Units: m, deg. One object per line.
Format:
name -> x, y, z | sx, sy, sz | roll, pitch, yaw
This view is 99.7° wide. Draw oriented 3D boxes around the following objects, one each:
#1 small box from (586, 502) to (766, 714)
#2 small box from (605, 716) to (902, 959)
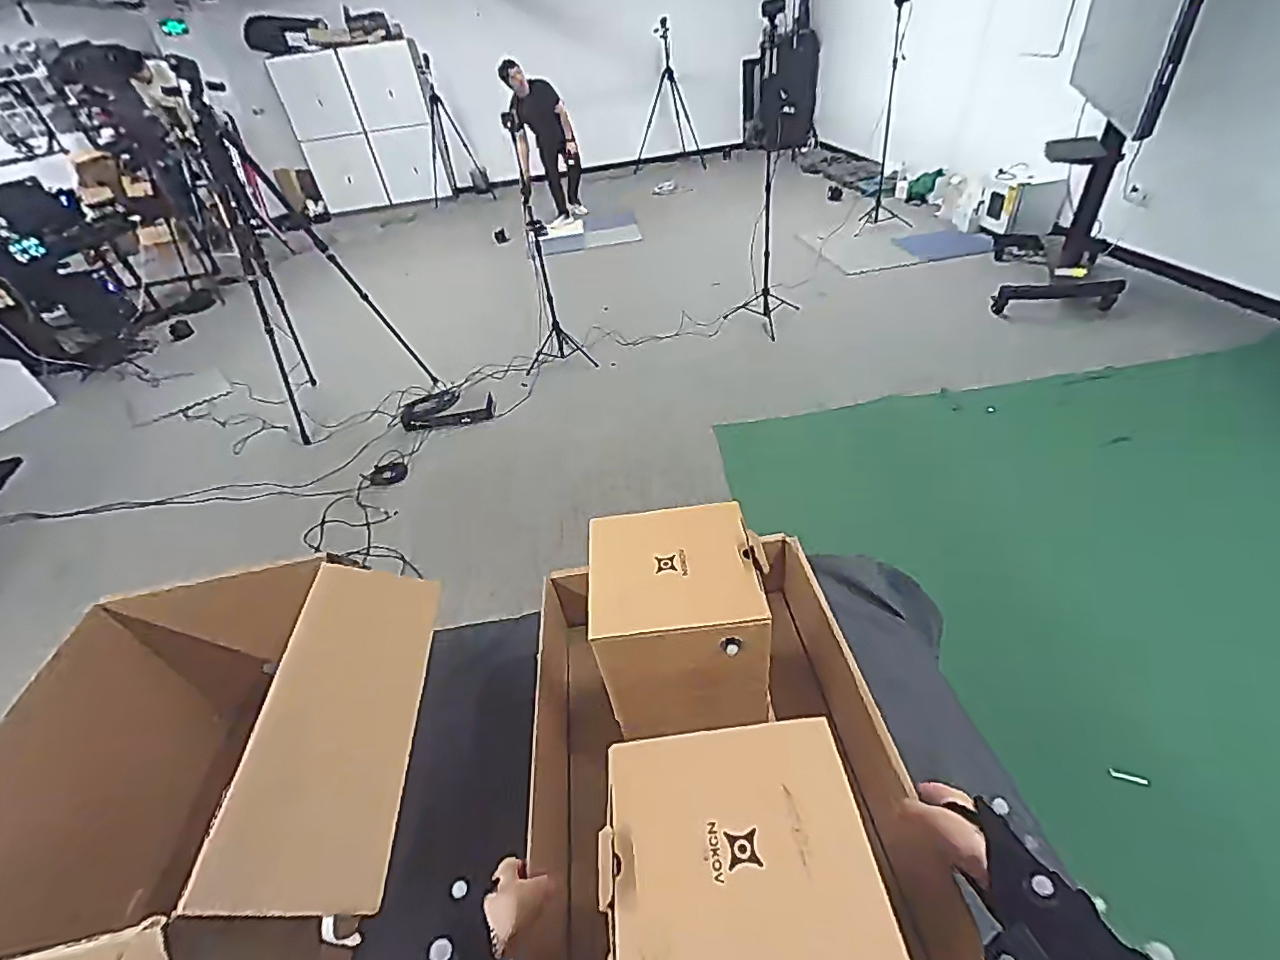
small box -> 0.040, 0.149, 0.621 | 0.179, 0.176, 0.168 | -7, 41, 1
small box -> 0.075, 0.312, 0.420 | 0.179, 0.176, 0.168 | -9, 40, 2
